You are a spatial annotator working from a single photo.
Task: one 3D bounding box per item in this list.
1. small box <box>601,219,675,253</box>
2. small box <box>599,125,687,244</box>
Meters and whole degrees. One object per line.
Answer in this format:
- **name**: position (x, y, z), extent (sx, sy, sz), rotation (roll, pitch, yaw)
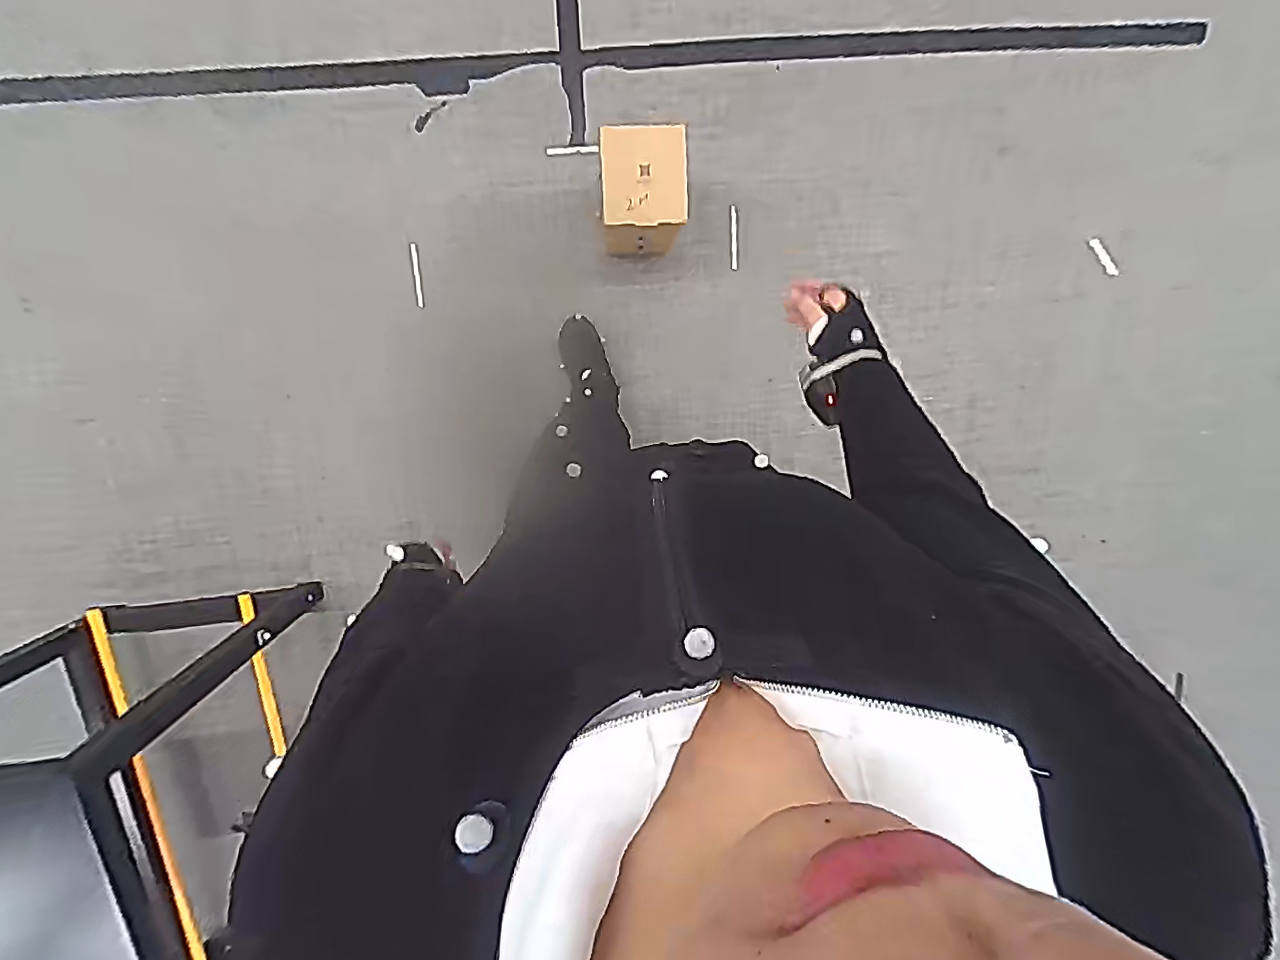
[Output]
- **small box**: position (-0.008, -0.642, 1.274), extent (0.168, 0.176, 0.179), rotation (-5, 103, -3)
- **small box**: position (0.002, -0.600, 1.114), extent (0.168, 0.176, 0.179), rotation (-3, 103, -3)
